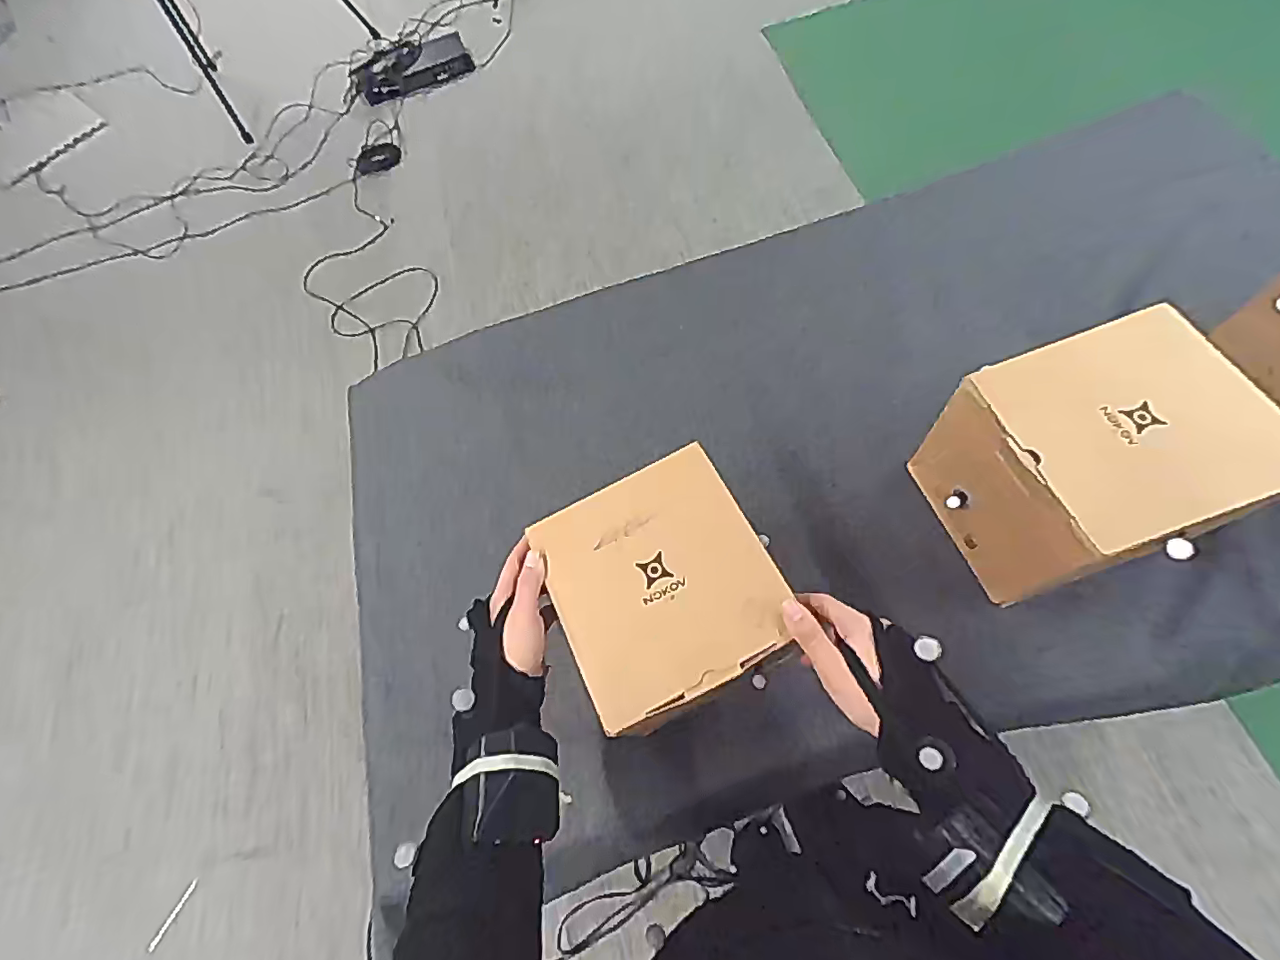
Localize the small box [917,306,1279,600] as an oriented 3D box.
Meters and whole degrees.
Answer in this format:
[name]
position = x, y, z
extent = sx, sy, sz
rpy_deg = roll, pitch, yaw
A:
[small box]
position = 0.383, -0.011, 0.474
extent = 0.179, 0.176, 0.168
rpy_deg = -20, 64, 1
